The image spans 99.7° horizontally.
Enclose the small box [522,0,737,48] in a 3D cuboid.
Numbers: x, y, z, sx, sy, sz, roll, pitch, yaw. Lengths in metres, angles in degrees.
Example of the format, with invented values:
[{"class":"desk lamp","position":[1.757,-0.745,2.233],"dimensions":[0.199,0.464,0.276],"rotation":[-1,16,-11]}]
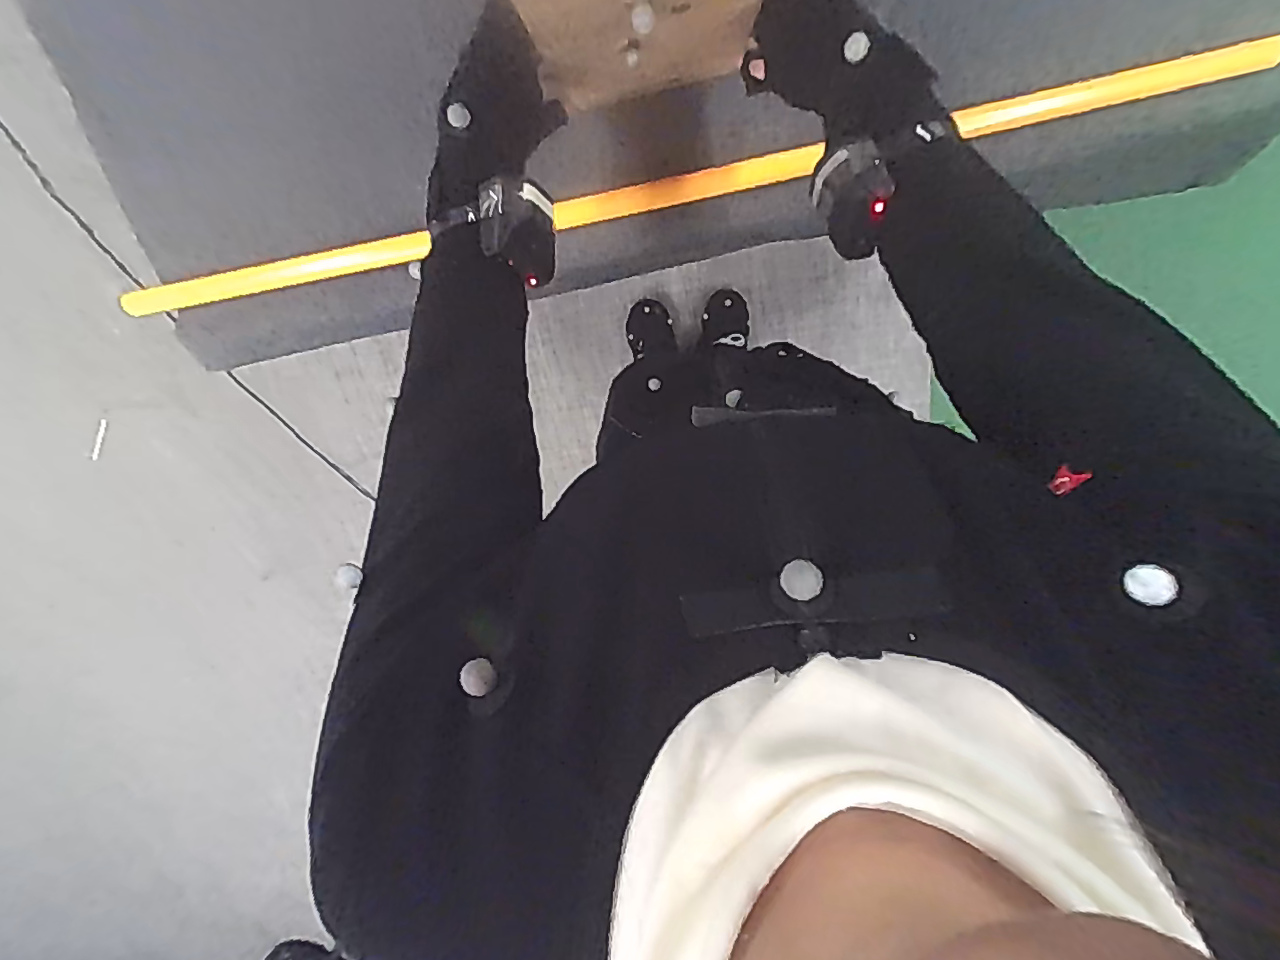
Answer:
[{"class":"small box","position":[-0.015,-0.381,0.289],"dimensions":[0.168,0.176,0.179],"rotation":[-10,112,6]}]

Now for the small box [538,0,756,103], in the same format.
[{"class":"small box","position":[-0.006,-0.445,0.442],"dimensions":[0.168,0.176,0.179],"rotation":[-9,113,7]}]
